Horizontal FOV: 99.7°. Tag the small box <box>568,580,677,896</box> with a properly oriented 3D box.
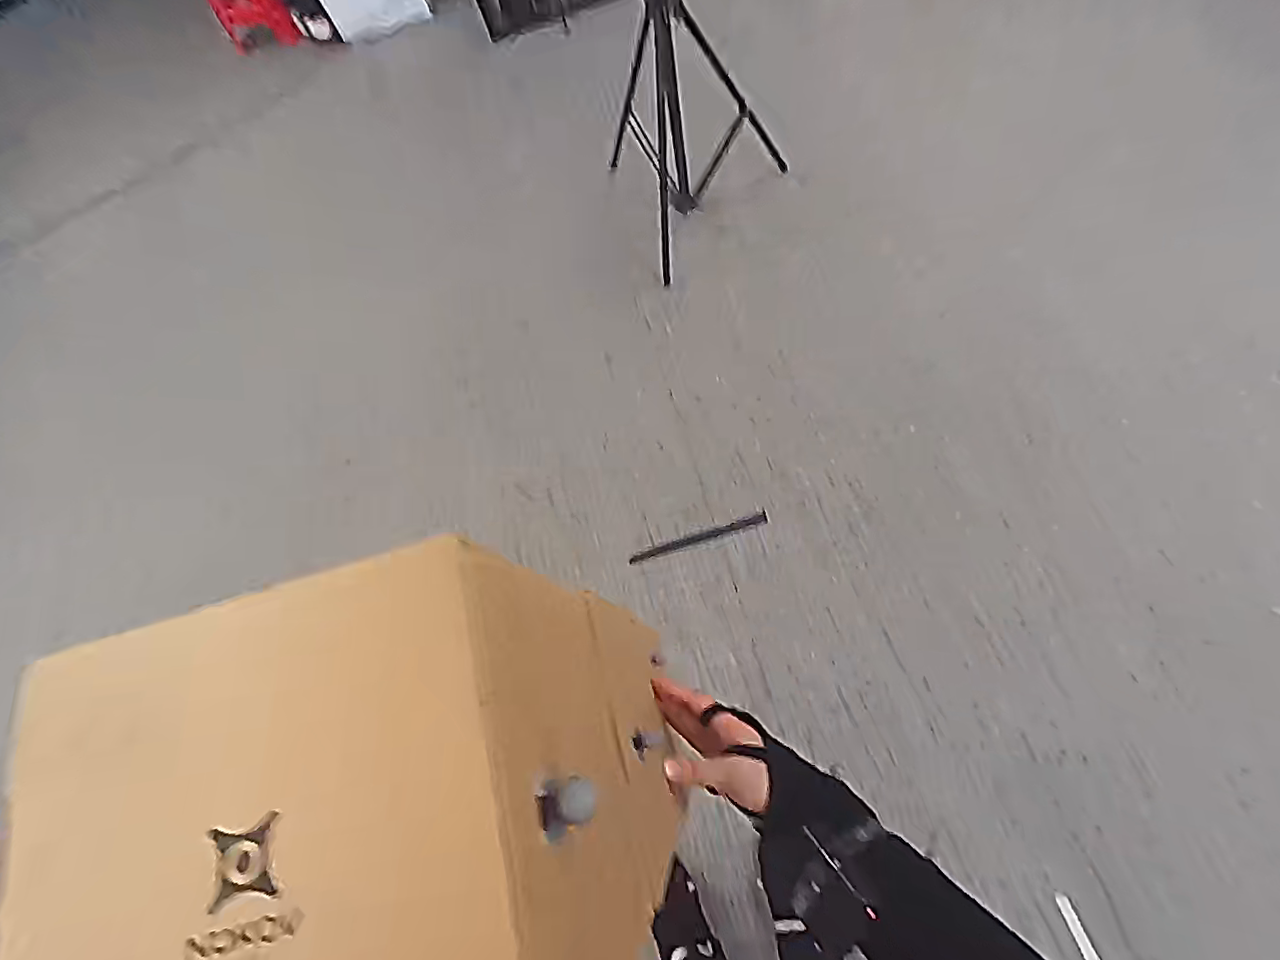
[{"bbox_3d":[-0.075,0.188,0.394,0.168,0.176,0.179,-16,69,2],"label":"small box"}]
